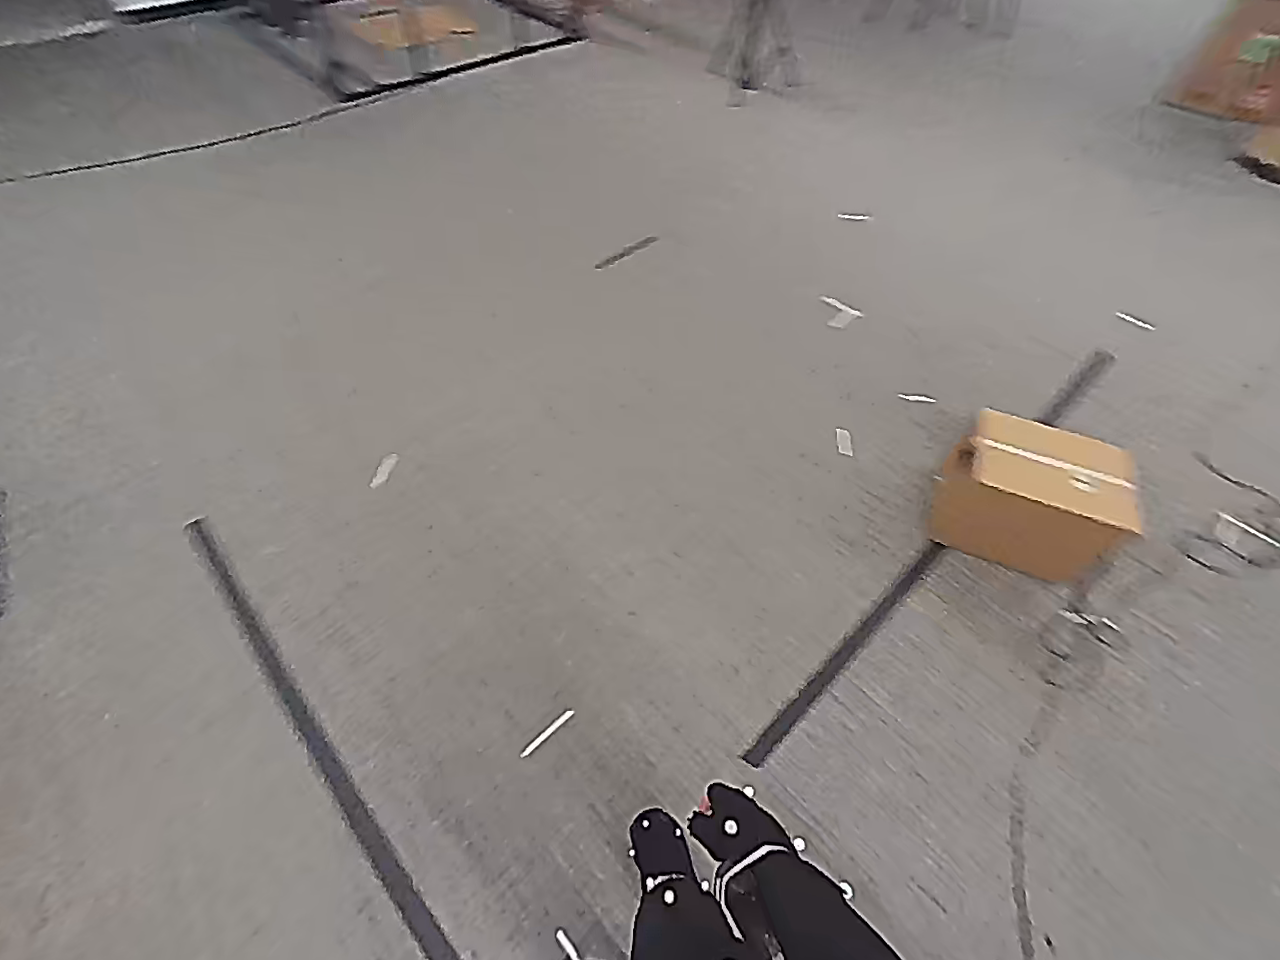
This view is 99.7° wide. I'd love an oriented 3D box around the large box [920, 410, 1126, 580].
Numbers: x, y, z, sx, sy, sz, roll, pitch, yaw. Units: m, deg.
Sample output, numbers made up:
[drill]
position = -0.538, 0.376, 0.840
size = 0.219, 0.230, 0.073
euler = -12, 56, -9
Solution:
[large box]
position = 1.126, 0.047, 1.641
size = 0.408, 0.320, 0.320
euler = 20, 55, 11
